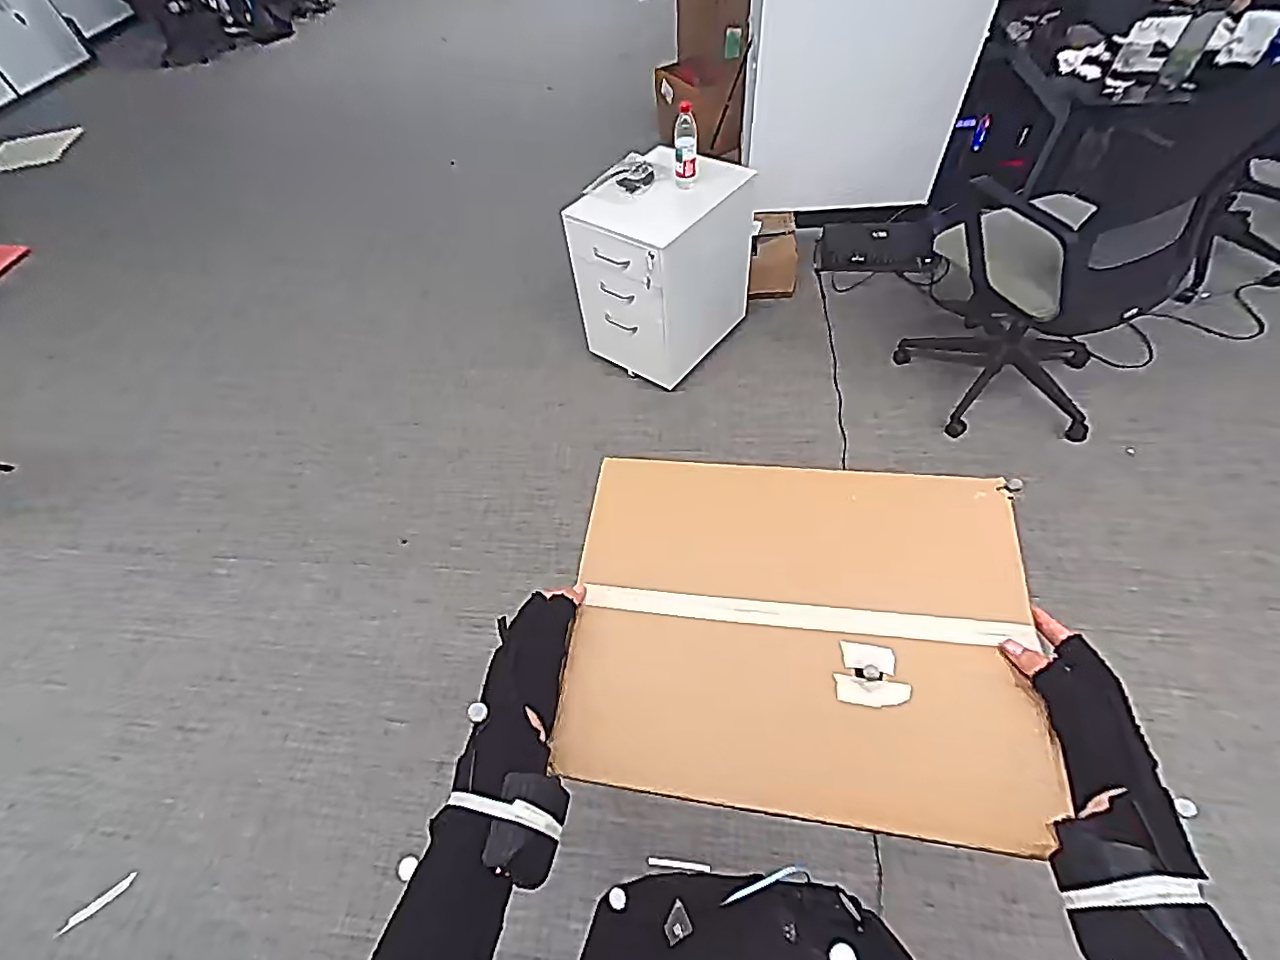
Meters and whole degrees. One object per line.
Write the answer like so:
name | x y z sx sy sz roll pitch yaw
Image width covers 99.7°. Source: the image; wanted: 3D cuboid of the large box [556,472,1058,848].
large box | 0.157 0.206 0.636 0.408 0.320 0.320 3 62 11
